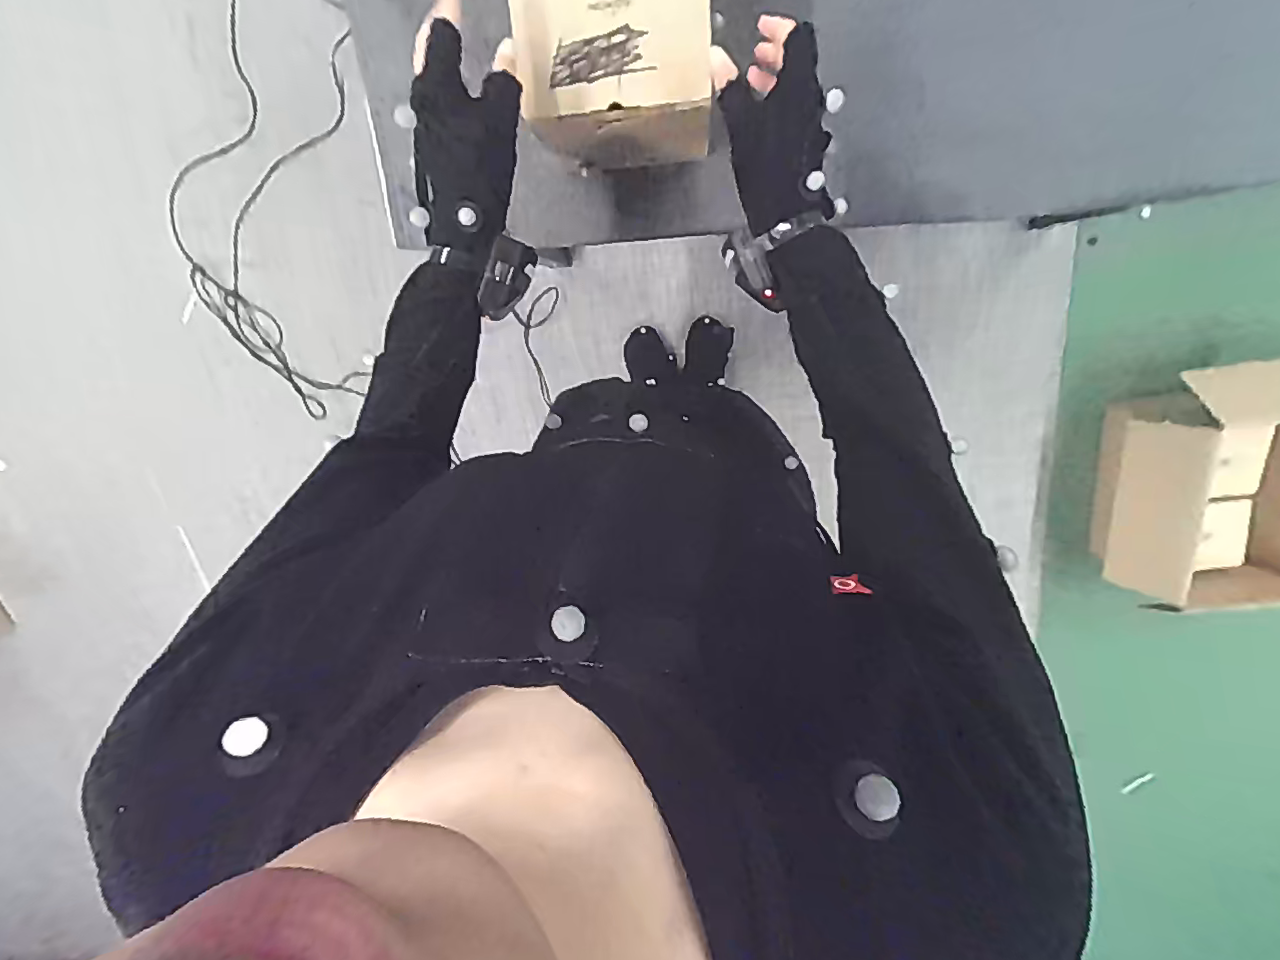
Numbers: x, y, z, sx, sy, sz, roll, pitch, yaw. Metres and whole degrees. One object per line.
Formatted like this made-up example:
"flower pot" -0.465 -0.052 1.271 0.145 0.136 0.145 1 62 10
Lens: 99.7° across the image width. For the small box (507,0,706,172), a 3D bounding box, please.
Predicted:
"small box" -0.022 -0.413 0.519 0.168 0.176 0.179 -3 105 5
